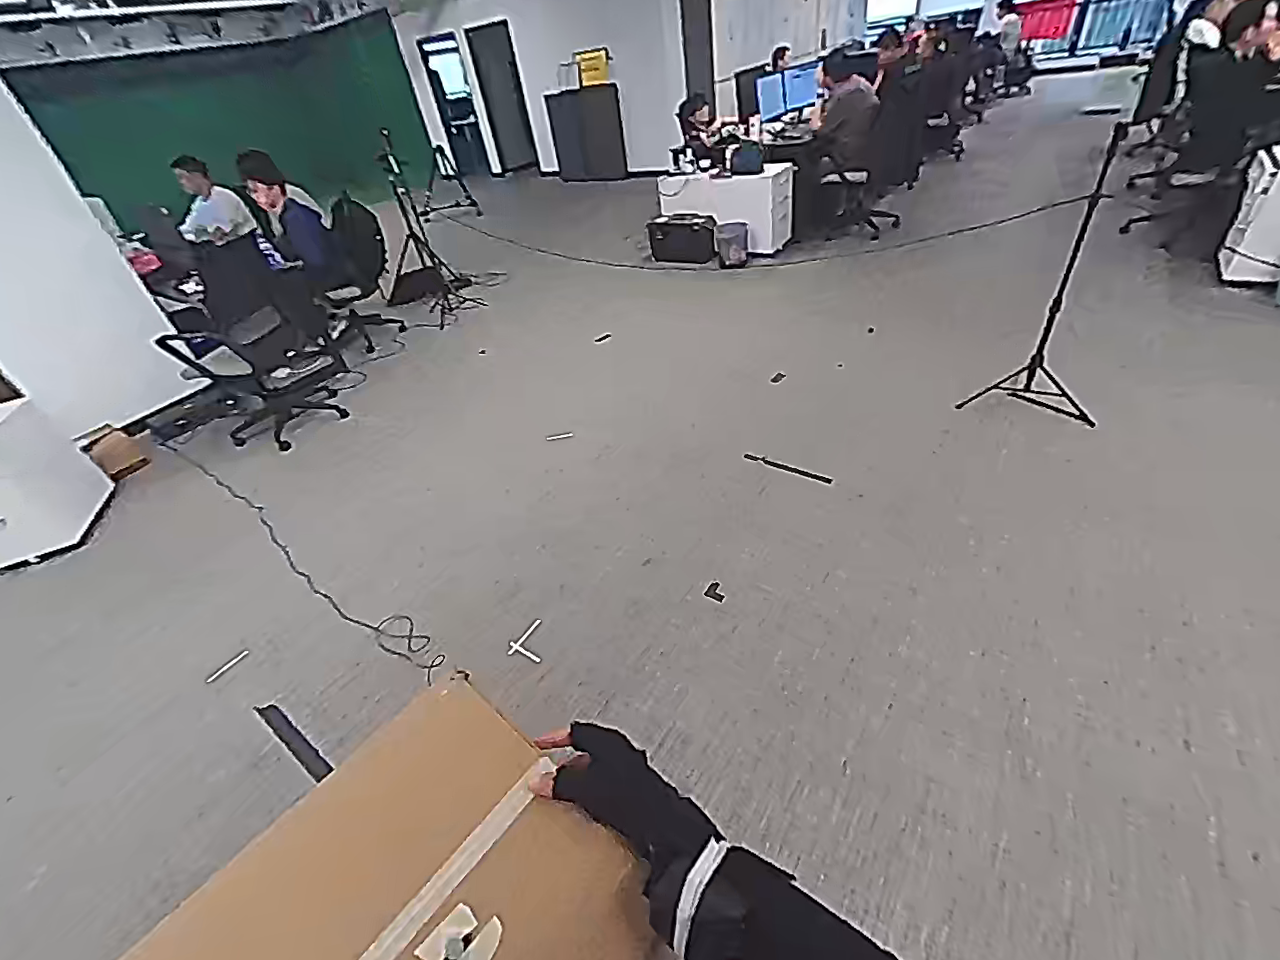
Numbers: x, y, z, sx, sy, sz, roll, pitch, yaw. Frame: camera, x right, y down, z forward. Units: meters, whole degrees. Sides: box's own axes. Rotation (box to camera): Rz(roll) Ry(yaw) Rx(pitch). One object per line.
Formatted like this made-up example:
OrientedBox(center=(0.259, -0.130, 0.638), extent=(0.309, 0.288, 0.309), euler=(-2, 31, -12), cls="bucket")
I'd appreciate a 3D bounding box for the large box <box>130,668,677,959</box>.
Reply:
OrientedBox(center=(-0.203, 0.486, 0.517), extent=(0.320, 0.320, 0.408), euler=(30, 52, 29), cls="large box")
